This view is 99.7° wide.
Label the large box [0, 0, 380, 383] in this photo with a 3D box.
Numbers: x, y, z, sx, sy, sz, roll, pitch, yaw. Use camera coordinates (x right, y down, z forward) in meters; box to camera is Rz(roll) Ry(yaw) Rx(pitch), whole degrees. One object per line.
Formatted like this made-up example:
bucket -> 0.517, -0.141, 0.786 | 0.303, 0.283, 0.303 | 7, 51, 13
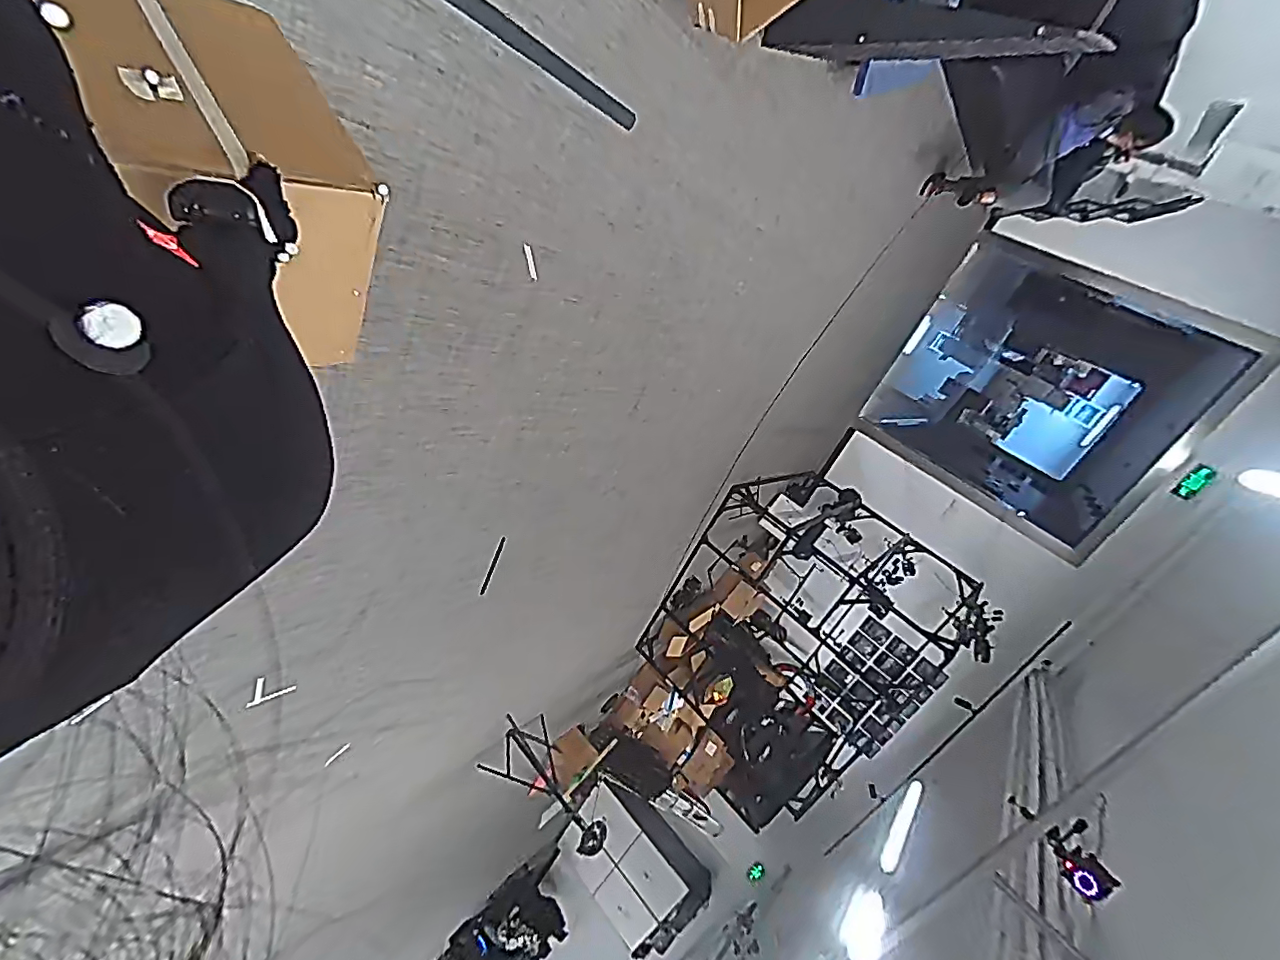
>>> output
large box -> -0.624, -0.399, 0.740 | 0.320, 0.408, 0.320 | -22, 162, -43
